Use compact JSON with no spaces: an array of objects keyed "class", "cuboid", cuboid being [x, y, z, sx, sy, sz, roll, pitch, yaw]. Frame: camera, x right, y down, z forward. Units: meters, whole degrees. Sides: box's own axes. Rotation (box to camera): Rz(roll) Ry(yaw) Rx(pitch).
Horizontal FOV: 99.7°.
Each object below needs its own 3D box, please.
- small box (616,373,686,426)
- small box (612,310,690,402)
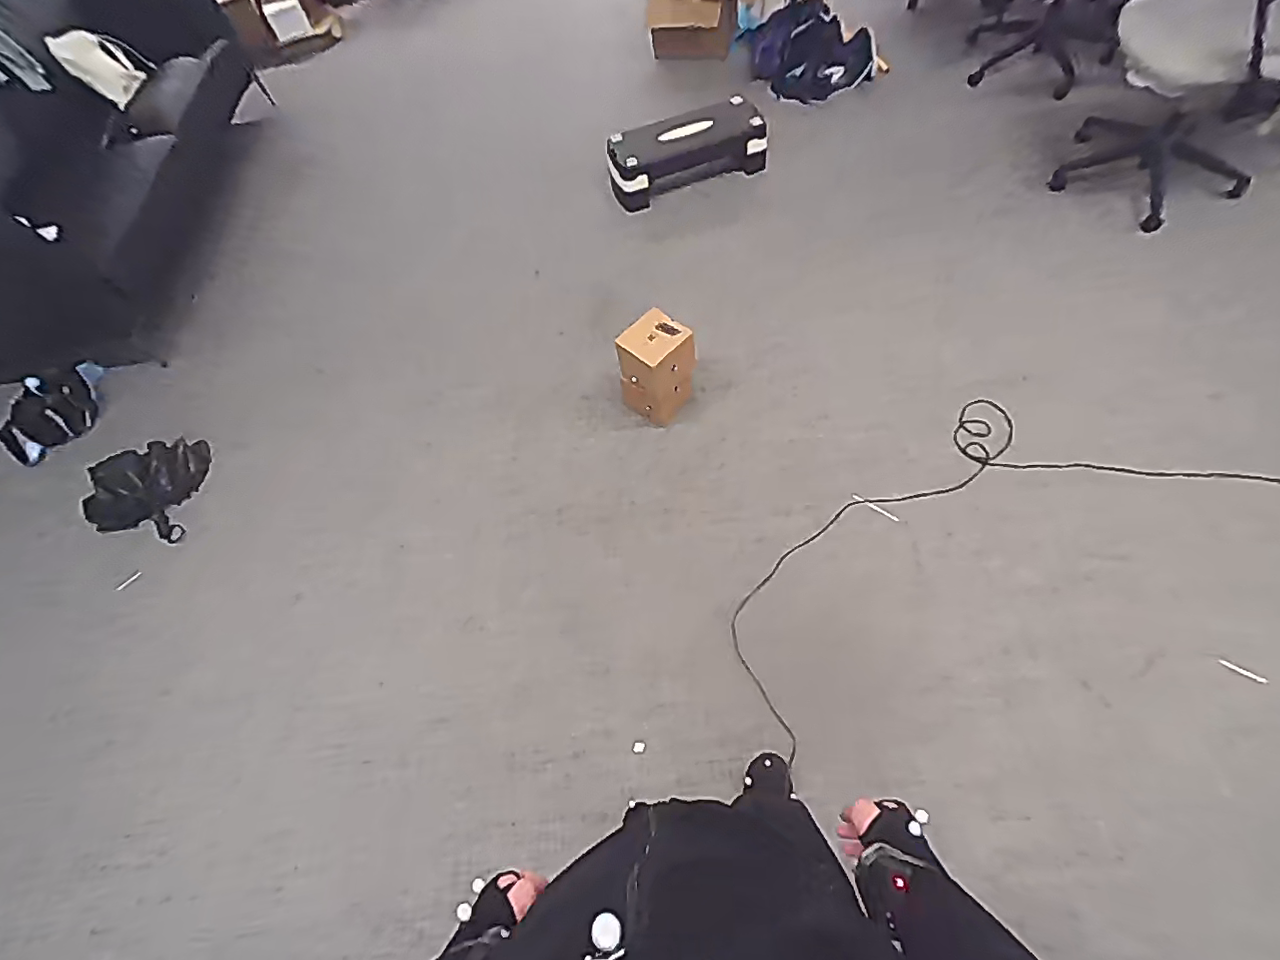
[{"class":"small box","cuboid":[0.045,-0.312,1.820,0.168,0.176,0.179,31,69,21]},{"class":"small box","cuboid":[0.040,-0.380,1.669,0.168,0.176,0.179,39,74,24]}]
